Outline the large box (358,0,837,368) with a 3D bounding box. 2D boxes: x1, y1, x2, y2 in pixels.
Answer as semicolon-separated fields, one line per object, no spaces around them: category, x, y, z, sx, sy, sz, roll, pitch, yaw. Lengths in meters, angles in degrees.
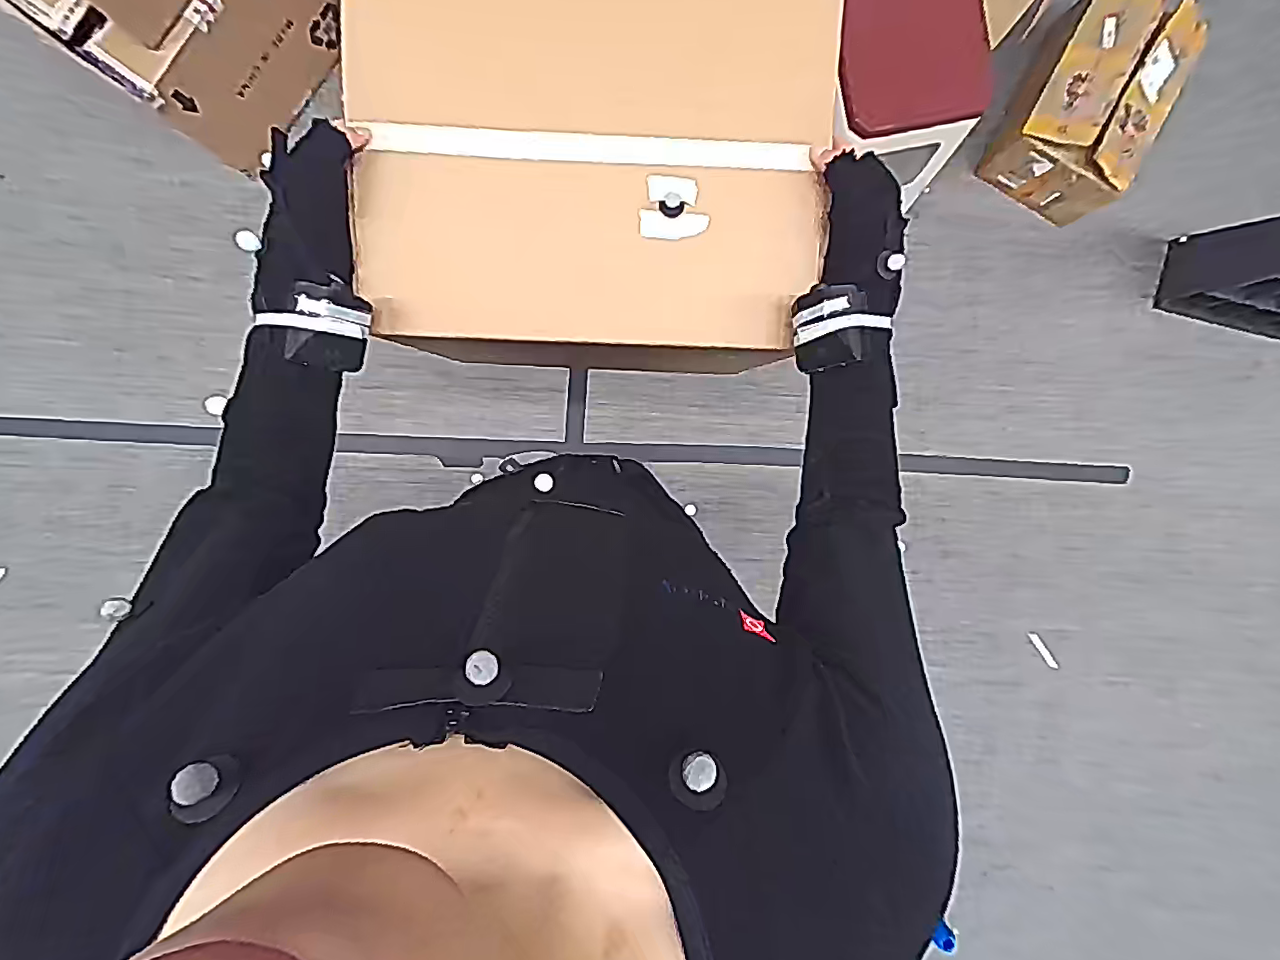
large box;-0.043;-0.298;0.607;0.408;0.320;0.320;1;97;-4
